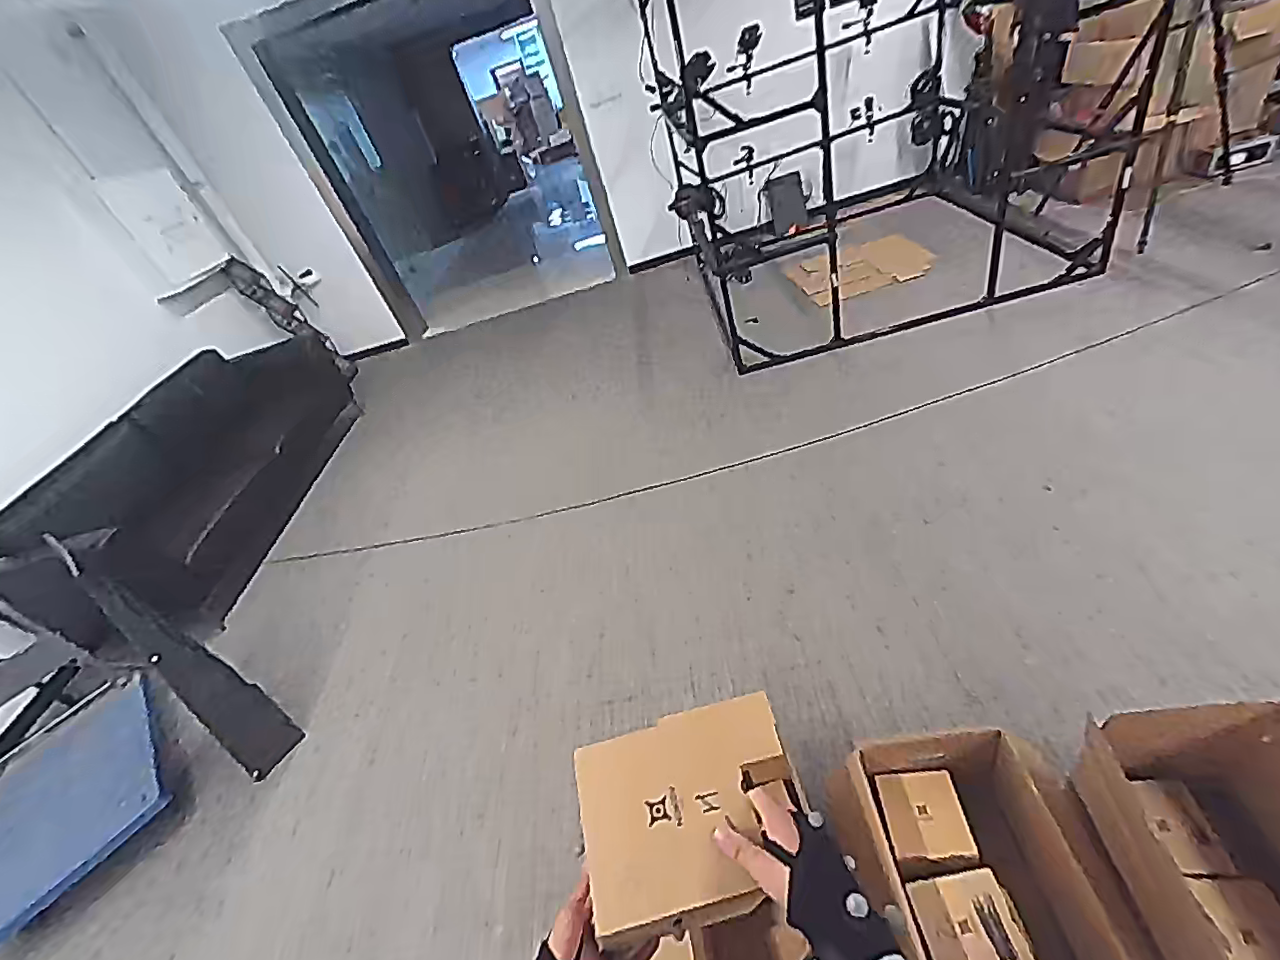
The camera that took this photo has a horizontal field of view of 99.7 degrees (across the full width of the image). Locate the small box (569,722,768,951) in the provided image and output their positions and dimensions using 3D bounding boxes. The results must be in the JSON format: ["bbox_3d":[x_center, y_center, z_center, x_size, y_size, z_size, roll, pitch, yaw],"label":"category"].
[{"bbox_3d":[0.021,0.401,0.608,0.179,0.176,0.168,-7,46,-10],"label":"small box"}]
